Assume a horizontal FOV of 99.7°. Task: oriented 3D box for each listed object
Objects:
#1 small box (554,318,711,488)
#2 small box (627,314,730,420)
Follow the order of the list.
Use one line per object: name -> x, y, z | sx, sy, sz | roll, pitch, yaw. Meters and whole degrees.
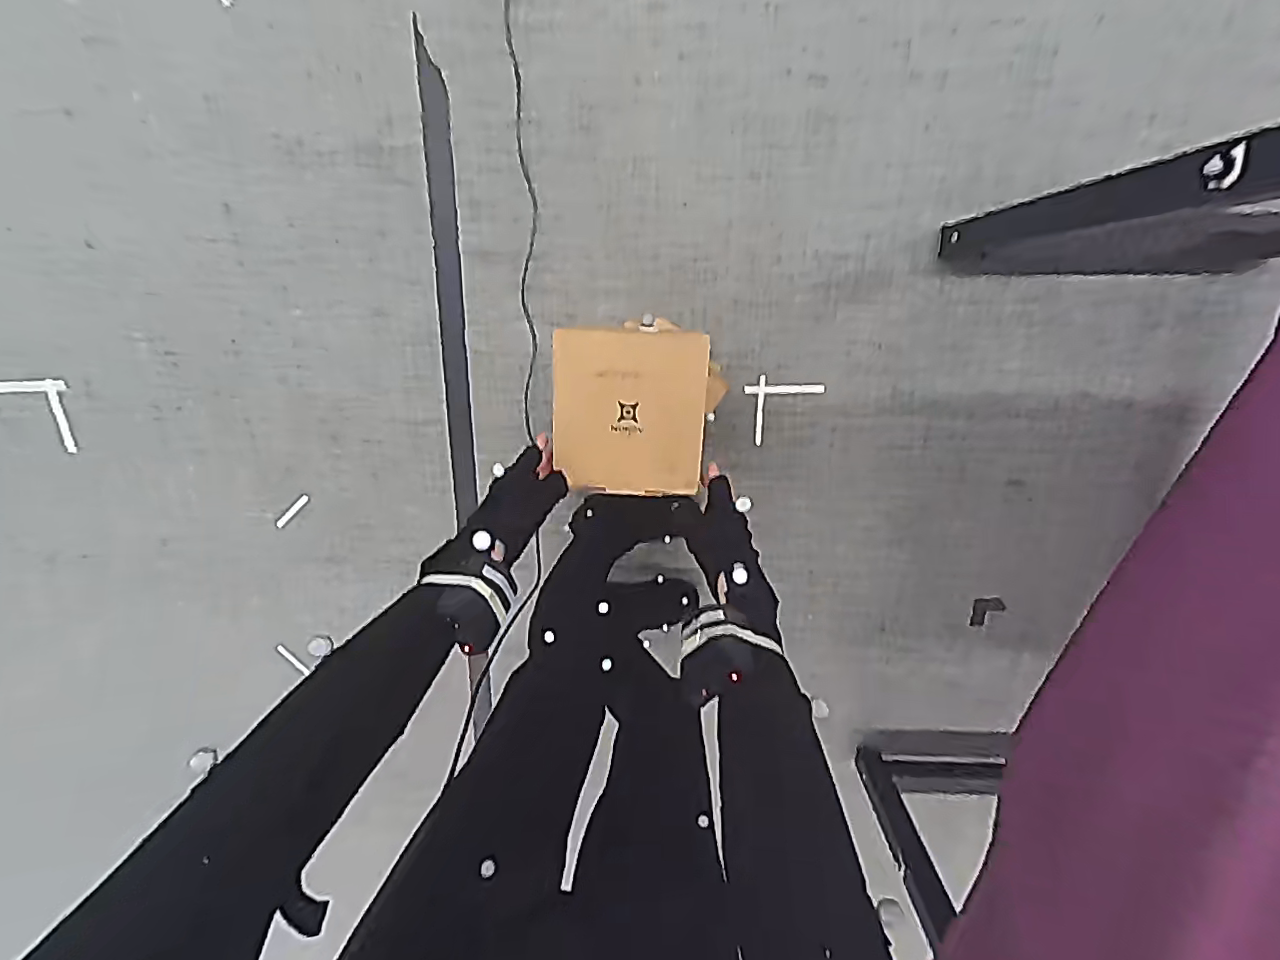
small box -> -0.008, -0.101, 0.655 | 0.168, 0.176, 0.179 | 2, 107, 1
small box -> 0.011, -0.131, 0.815 | 0.168, 0.176, 0.179 | 33, 106, -7
